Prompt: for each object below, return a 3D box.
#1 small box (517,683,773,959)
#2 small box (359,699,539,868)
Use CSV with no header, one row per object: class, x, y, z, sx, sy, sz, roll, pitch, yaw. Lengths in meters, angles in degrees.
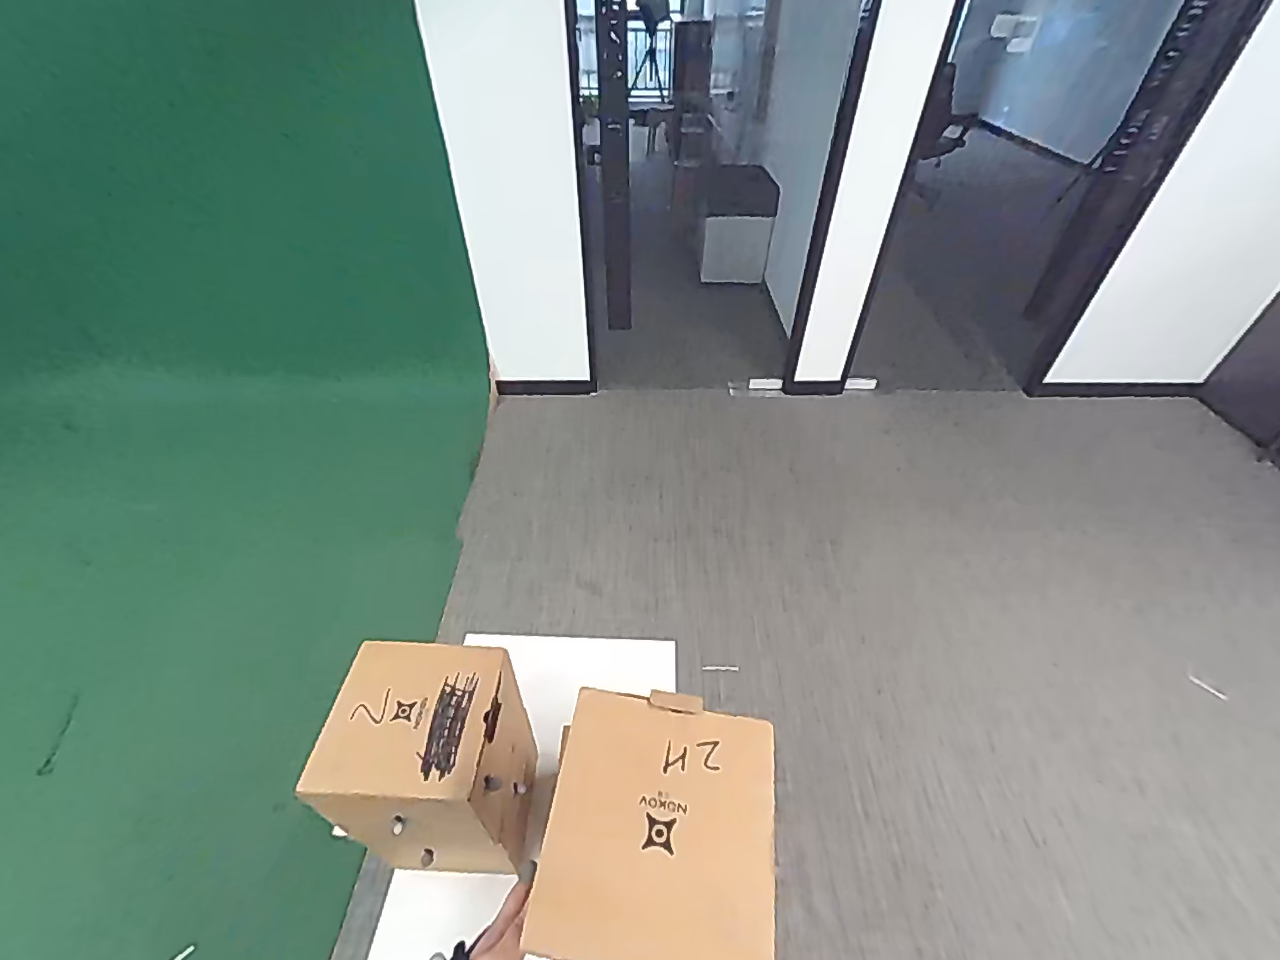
small box,0.011,0.300,0.454,0.168,0.176,0.179,9,48,3
small box,-0.249,0.426,0.757,0.179,0.176,0.168,2,44,1
